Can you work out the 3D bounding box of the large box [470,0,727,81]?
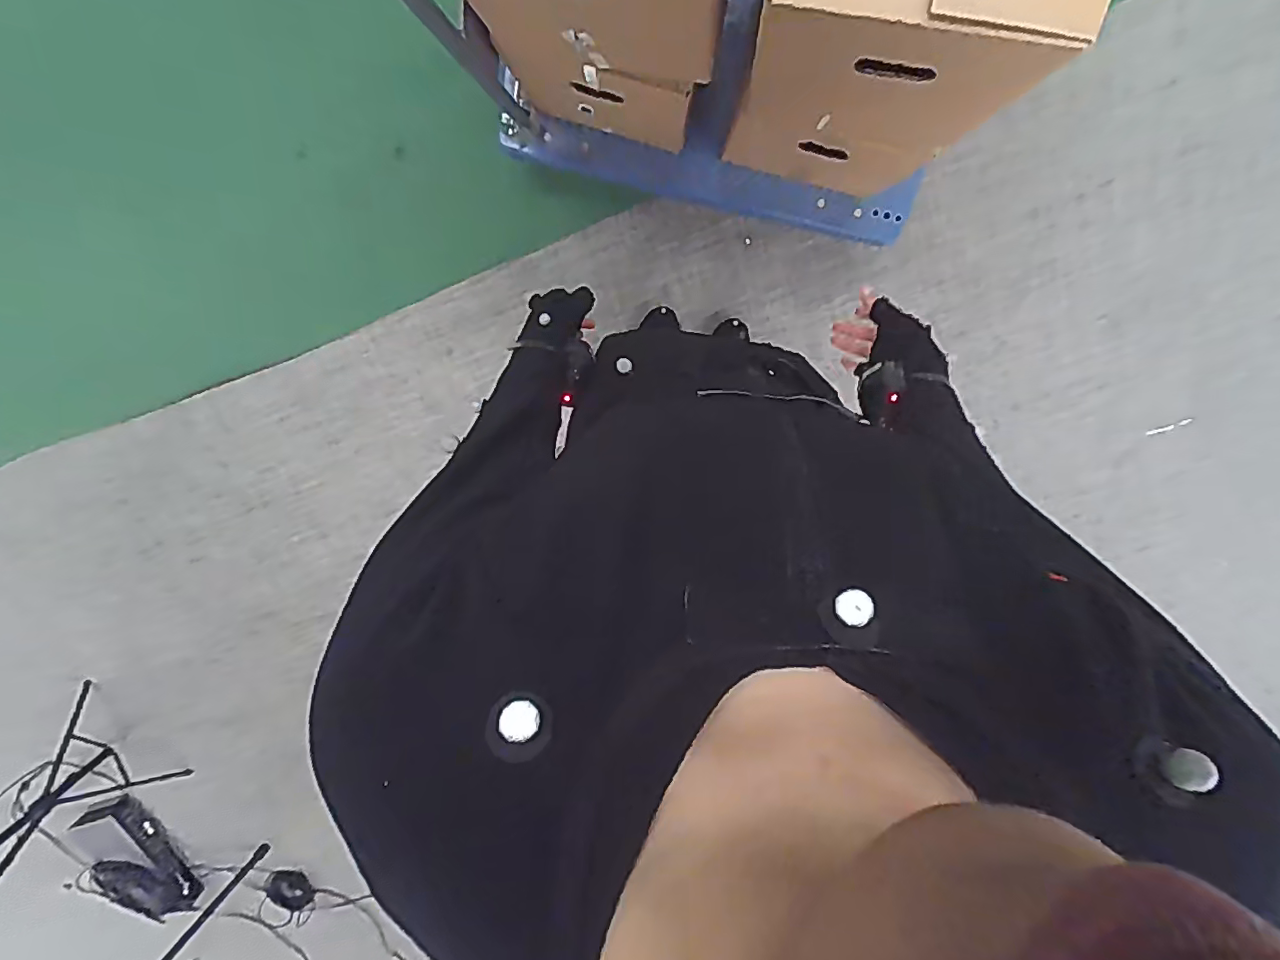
[{"bbox_3d":[-0.032,-0.742,0.589,0.320,0.320,0.408,12,106,3],"label":"large box"}]
